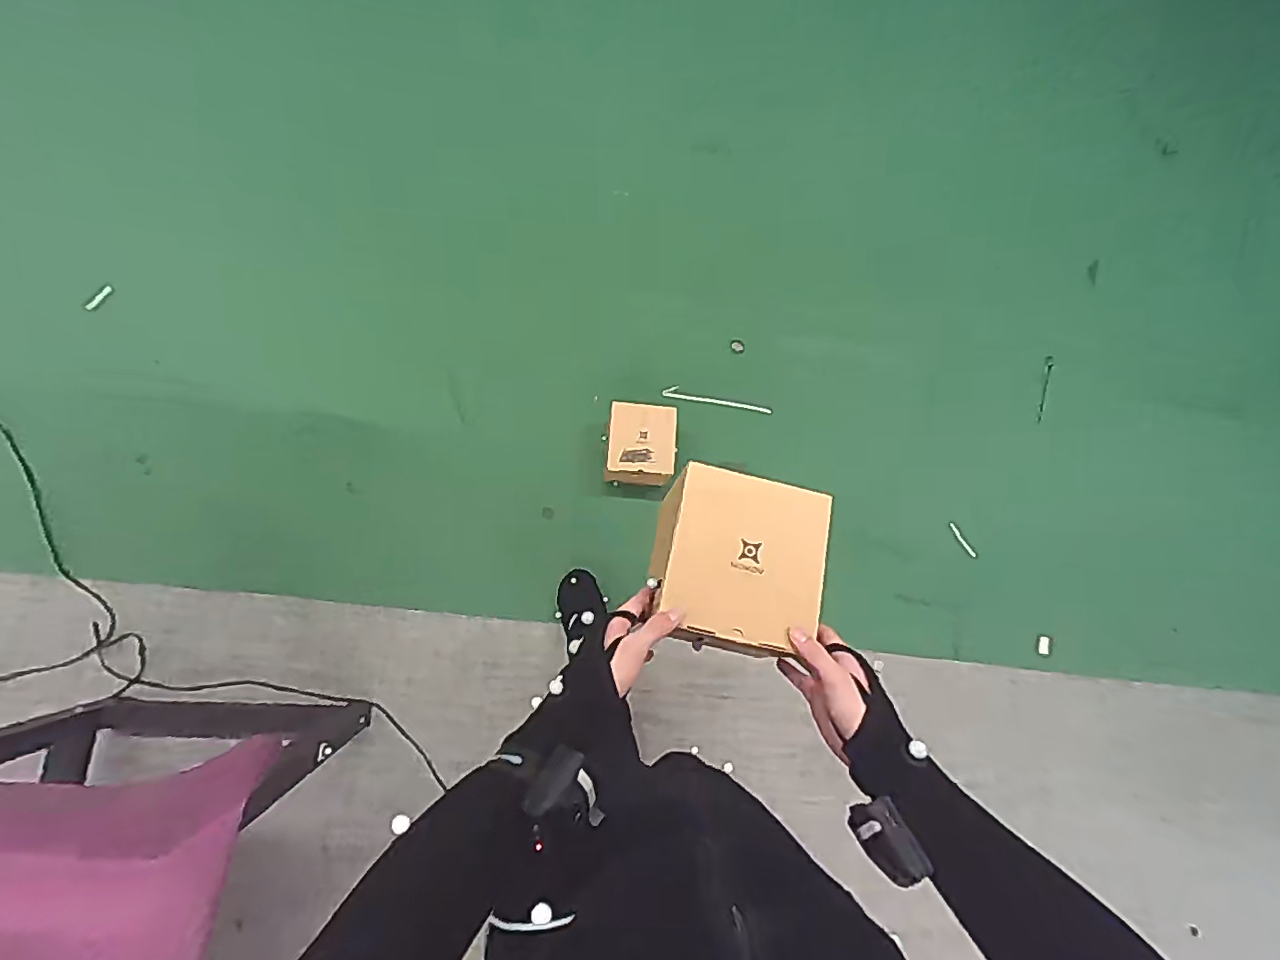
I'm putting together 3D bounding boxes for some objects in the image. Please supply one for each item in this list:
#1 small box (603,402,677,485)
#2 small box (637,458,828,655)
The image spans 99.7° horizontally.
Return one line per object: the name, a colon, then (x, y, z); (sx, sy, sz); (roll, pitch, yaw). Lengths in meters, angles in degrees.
small box: (-0.005, -0.087, 1.404); (0.168, 0.176, 0.179); (5, 80, -7)
small box: (0.099, 0.098, 0.639); (0.168, 0.176, 0.179); (14, 72, -4)
